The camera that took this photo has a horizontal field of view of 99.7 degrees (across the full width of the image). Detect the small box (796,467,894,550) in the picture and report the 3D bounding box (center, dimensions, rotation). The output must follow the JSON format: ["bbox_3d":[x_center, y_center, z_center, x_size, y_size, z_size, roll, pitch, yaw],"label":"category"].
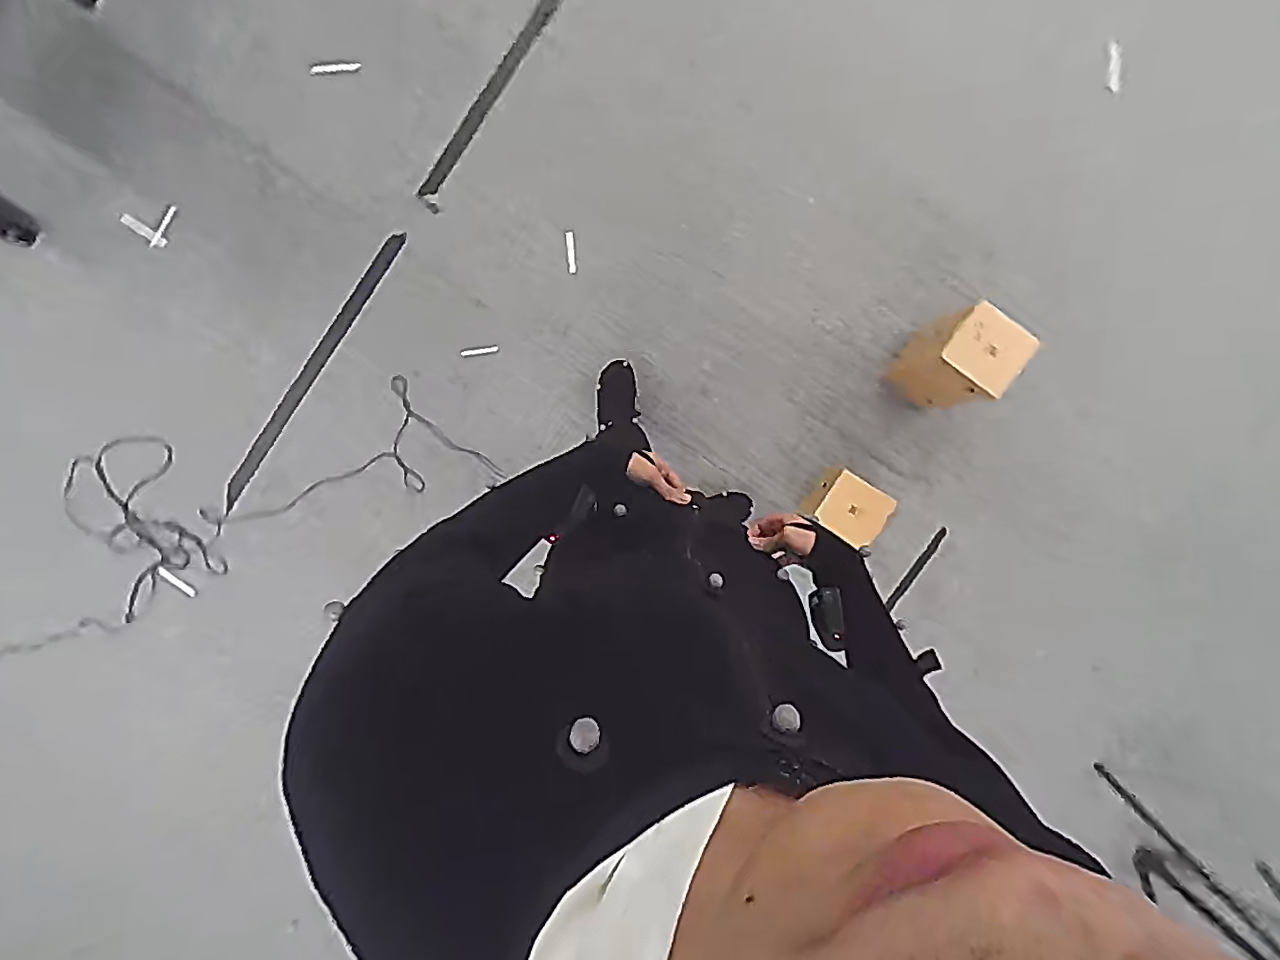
[{"bbox_3d":[0.571,0.074,1.534,0.179,0.176,0.168,32,94,-2],"label":"small box"}]

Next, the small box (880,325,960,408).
[{"bbox_3d":[0.811,-0.313,1.498,0.179,0.176,0.168,38,93,-2],"label":"small box"}]

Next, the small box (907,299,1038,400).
[{"bbox_3d":[0.809,-0.310,1.334,0.179,0.176,0.168,37,93,-1],"label":"small box"}]
